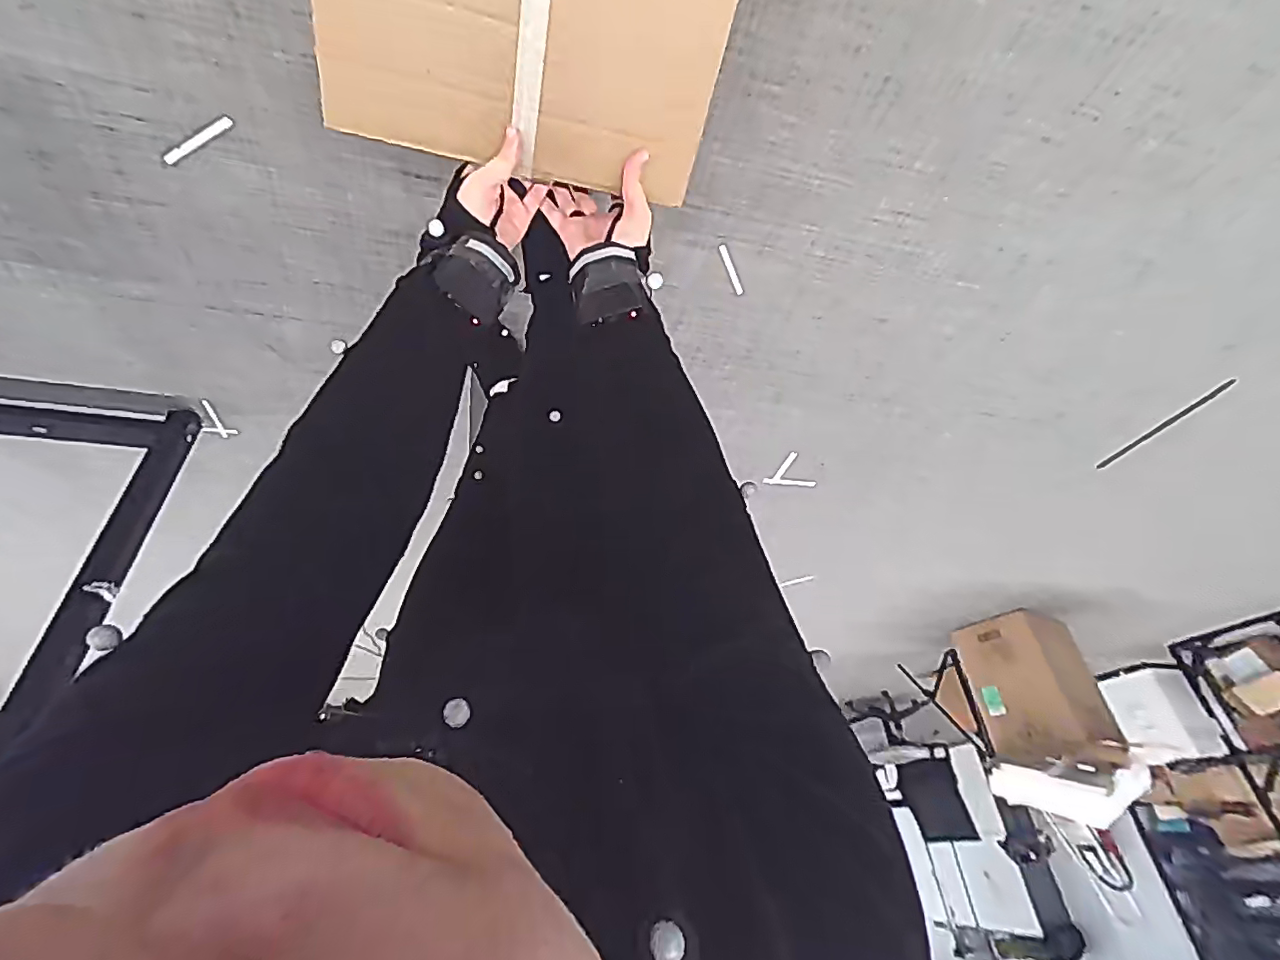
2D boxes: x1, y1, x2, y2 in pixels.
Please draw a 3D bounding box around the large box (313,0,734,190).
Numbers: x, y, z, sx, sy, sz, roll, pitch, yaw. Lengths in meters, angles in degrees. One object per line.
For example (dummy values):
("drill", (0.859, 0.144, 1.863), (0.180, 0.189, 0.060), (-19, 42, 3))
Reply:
("large box", (-0.081, -0.529, 0.462), (0.320, 0.320, 0.408), (5, 130, -15))
